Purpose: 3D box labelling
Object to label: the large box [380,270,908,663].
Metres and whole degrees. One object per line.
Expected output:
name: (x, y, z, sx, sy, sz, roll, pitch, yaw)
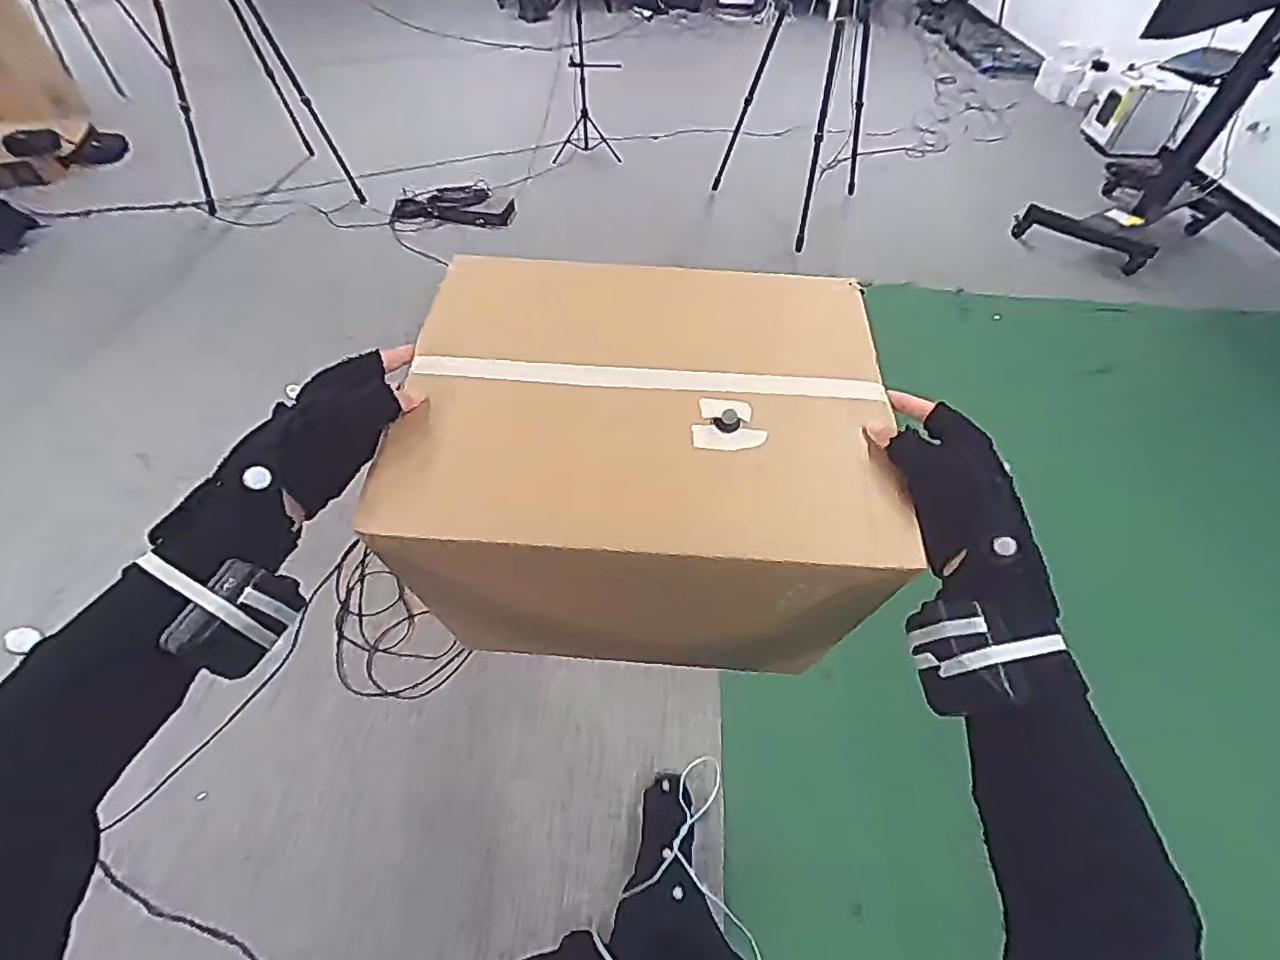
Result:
large box: (0.004, 0.000, 0.604, 0.408, 0.320, 0.320, 4, 57, 0)
